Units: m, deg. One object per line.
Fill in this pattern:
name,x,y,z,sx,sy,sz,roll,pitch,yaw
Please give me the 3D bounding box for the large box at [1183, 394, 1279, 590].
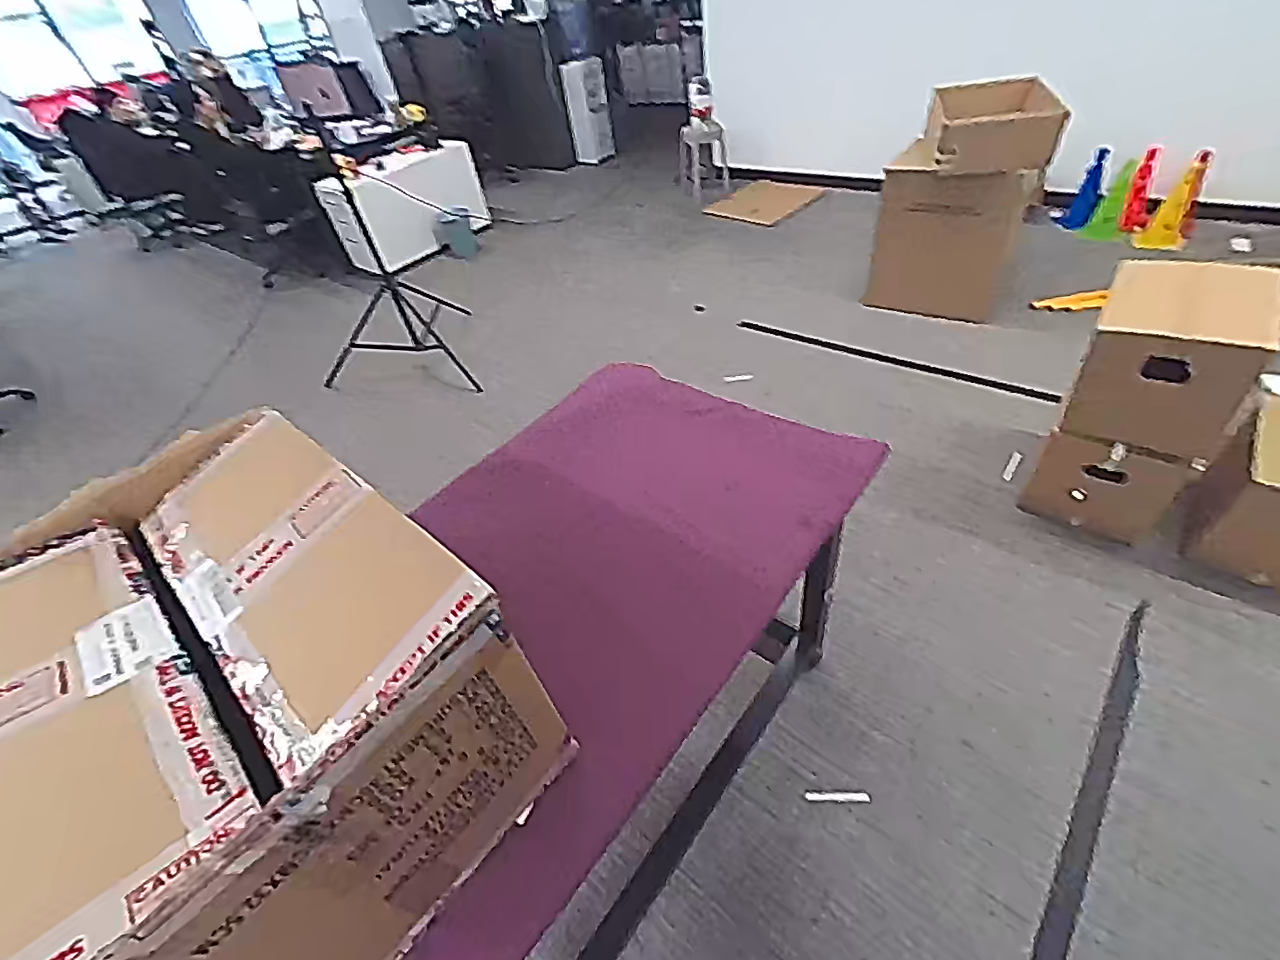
large box,1.723,0.042,1.422,0.320,0.320,0.408,24,55,32
